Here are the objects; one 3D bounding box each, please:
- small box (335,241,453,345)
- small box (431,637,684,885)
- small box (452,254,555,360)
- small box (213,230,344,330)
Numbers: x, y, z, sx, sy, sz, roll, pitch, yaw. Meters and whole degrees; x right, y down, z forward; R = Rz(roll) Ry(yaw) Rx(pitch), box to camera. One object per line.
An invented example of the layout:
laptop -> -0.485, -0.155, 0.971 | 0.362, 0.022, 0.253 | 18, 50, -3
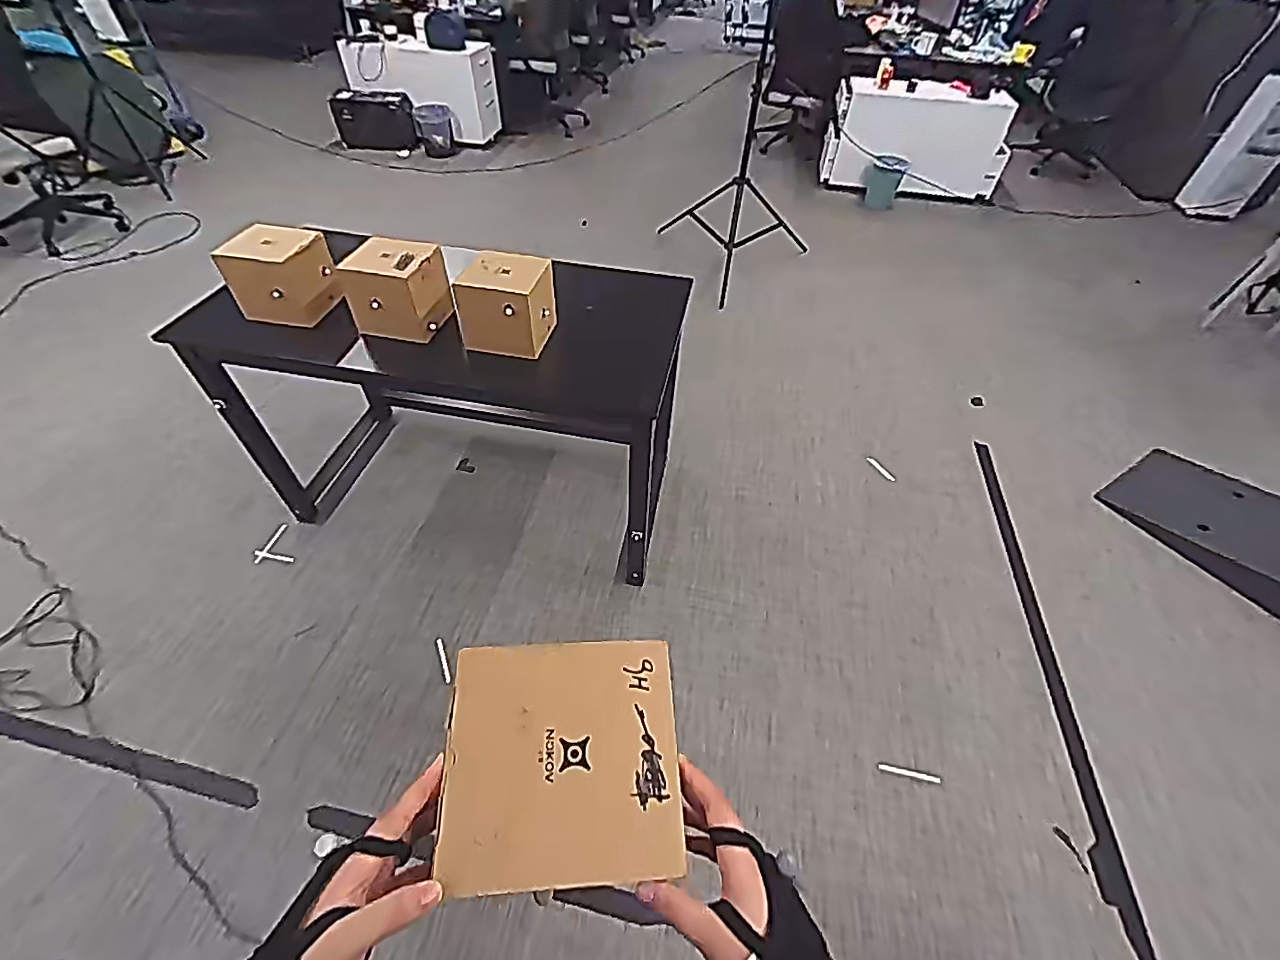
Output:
small box -> -0.573, -0.443, 1.290 | 0.179, 0.176, 0.168 | 9, 48, 7
small box -> -0.064, 0.247, 0.478 | 0.179, 0.176, 0.168 | -1, 58, -5
small box -> -0.307, -0.400, 1.262 | 0.179, 0.176, 0.168 | 9, 48, 6
small box -> -0.864, -0.483, 1.316 | 0.179, 0.176, 0.168 | 7, 47, 5
